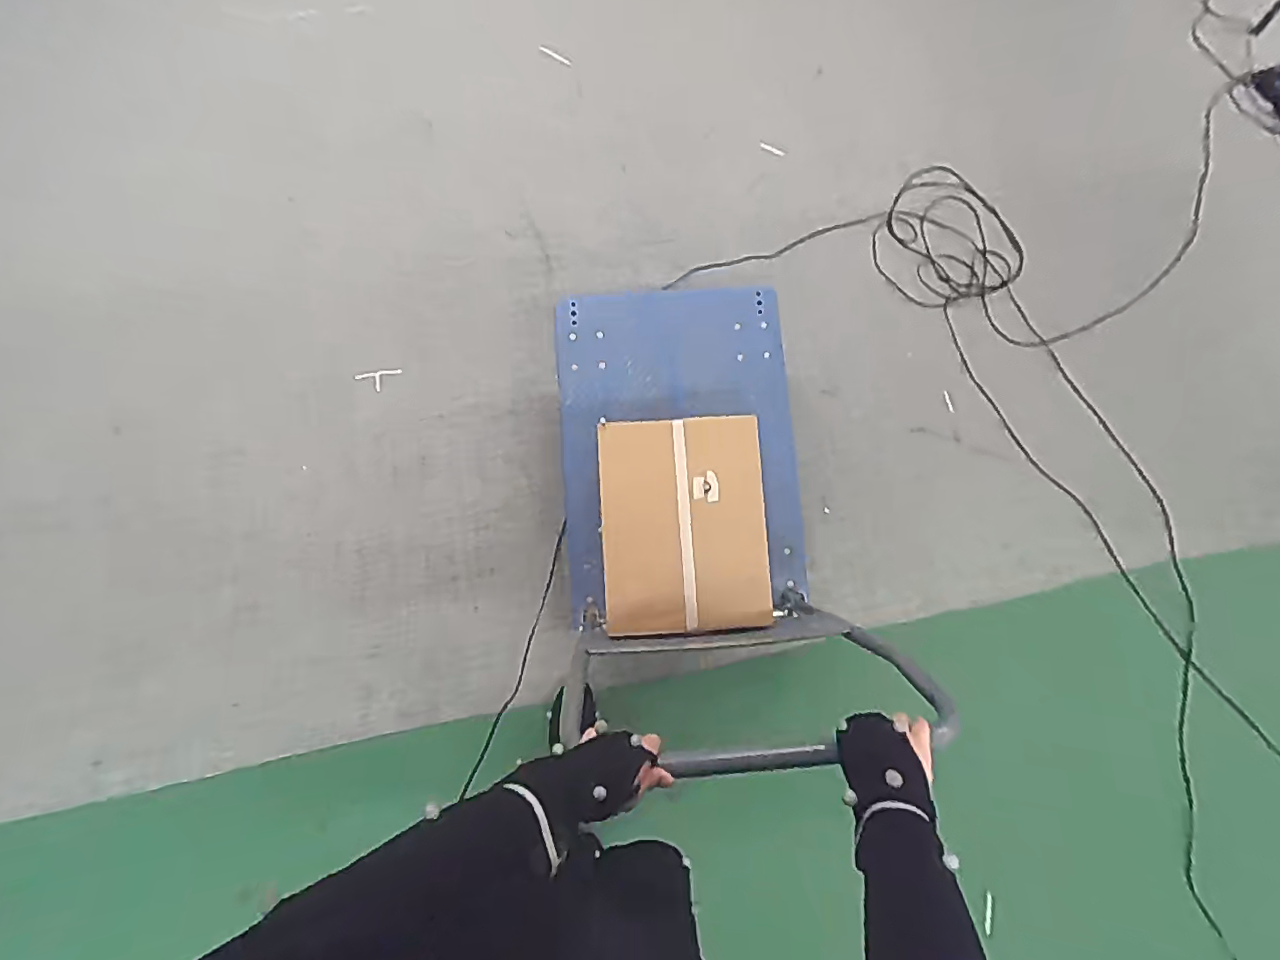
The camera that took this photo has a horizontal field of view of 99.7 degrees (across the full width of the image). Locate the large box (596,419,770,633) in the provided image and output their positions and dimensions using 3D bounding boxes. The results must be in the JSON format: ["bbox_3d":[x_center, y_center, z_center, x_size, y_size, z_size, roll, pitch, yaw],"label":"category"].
[{"bbox_3d":[0.079,0.106,1.198,0.320,0.320,0.408,-4,82,-2],"label":"large box"}]
